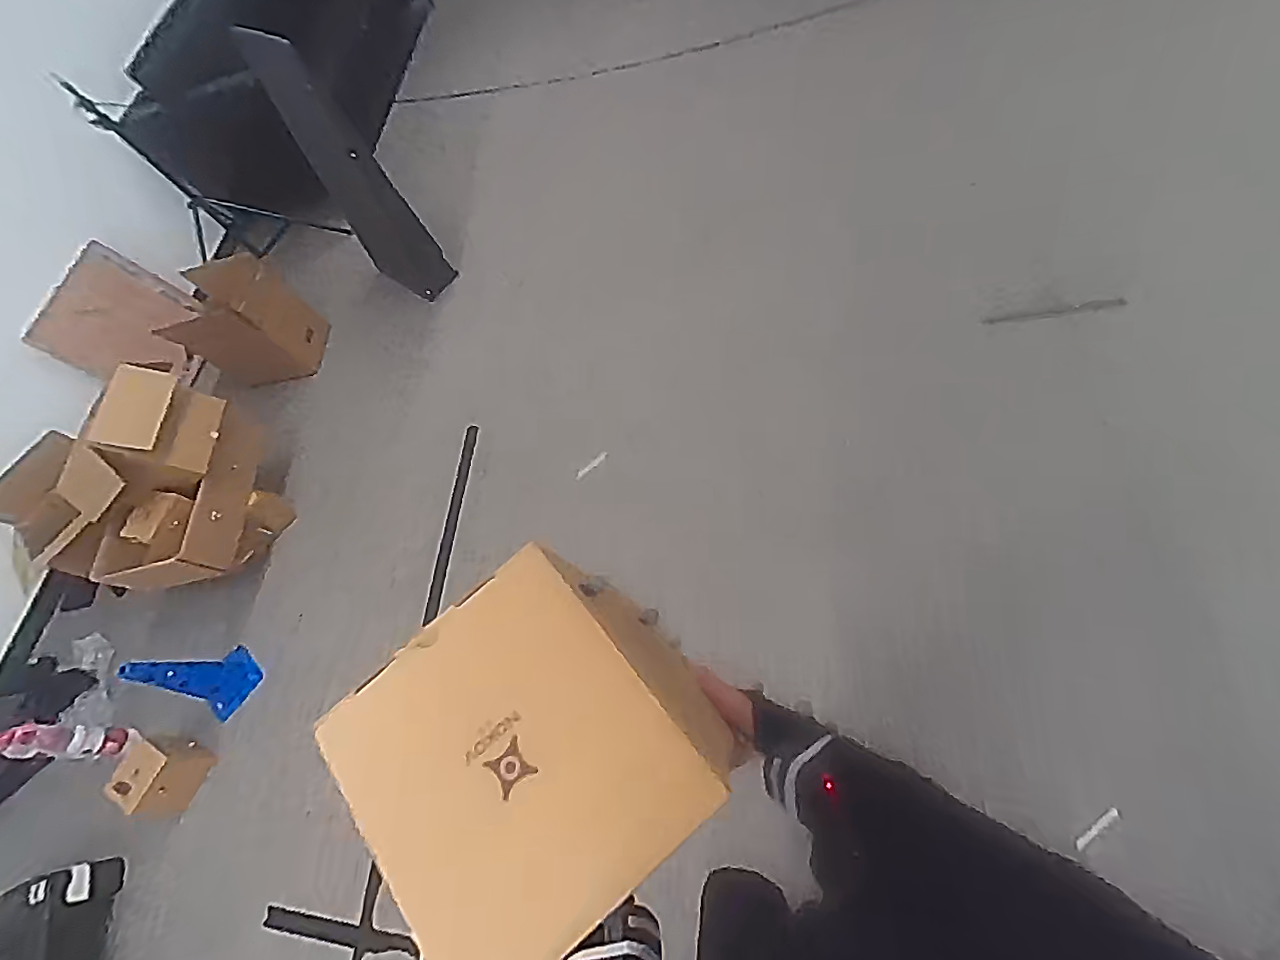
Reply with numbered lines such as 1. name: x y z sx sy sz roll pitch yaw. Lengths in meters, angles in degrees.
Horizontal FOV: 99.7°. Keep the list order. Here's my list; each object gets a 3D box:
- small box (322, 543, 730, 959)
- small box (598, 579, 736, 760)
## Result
1. small box: -0.055 0.172 0.360 0.168 0.176 0.179 -40 68 -6
2. small box: -0.028 0.223 0.512 0.168 0.176 0.179 -38 69 -5
